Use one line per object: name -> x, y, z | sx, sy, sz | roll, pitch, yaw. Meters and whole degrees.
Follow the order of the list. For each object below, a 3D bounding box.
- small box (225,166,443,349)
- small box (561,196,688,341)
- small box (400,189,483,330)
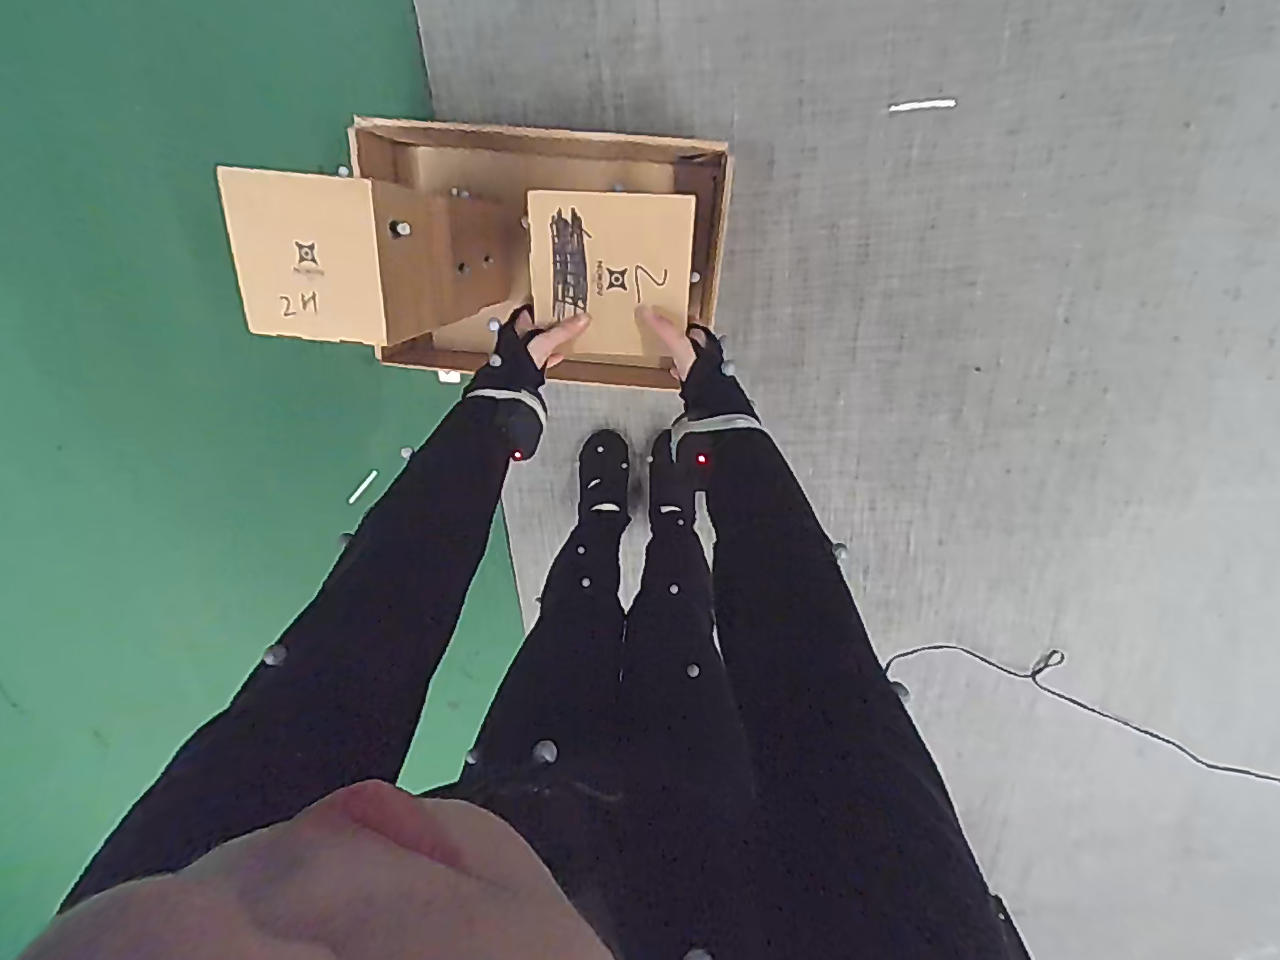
small box -> -0.358, -0.272, 0.671 | 0.168, 0.176, 0.179 | 6, 114, 1
small box -> -0.020, -0.314, 0.806 | 0.168, 0.176, 0.179 | 5, 114, 3
small box -> -0.344, -0.340, 0.820 | 0.168, 0.176, 0.179 | 8, 115, 0
